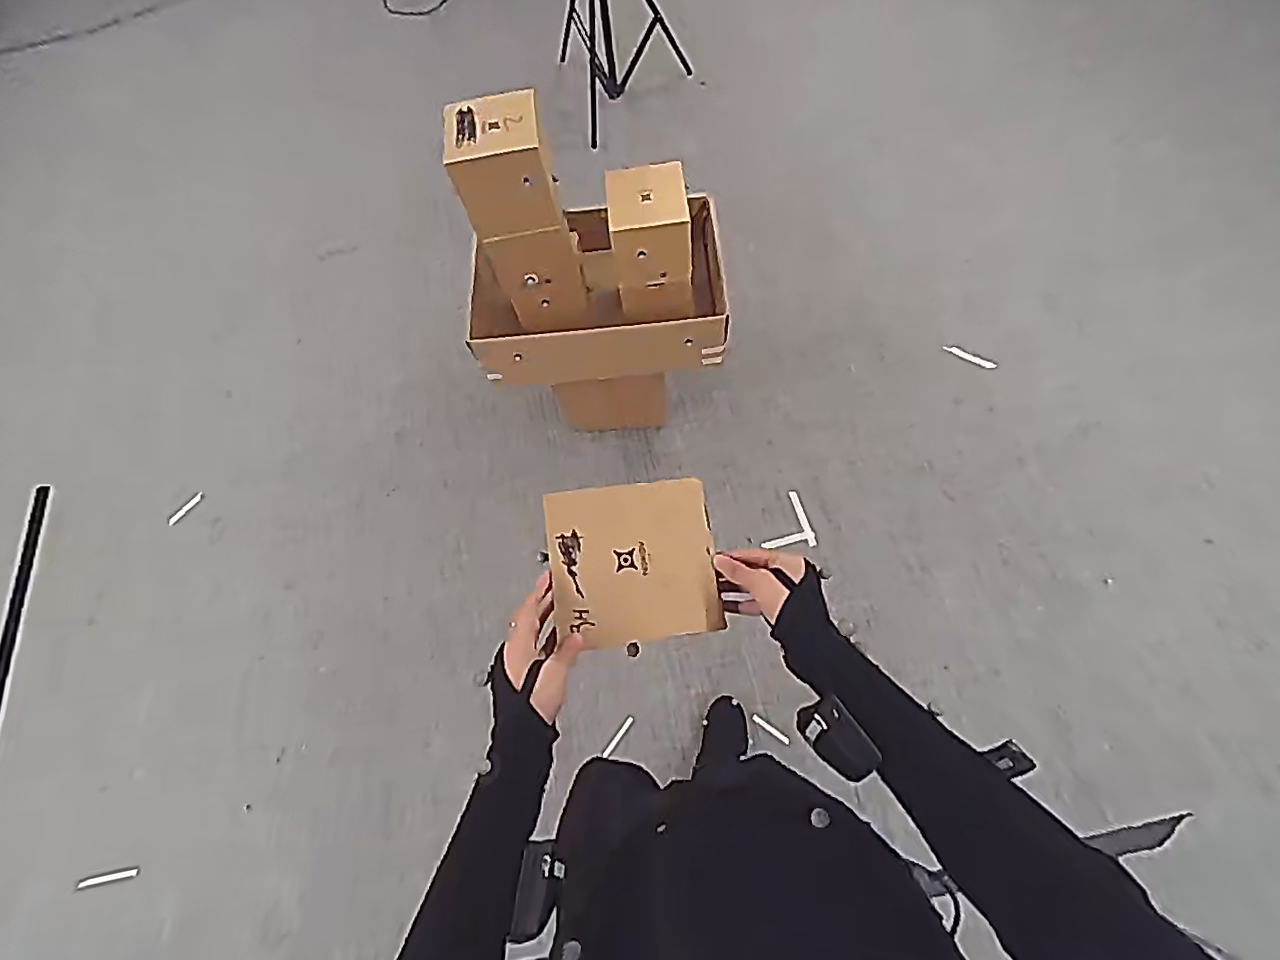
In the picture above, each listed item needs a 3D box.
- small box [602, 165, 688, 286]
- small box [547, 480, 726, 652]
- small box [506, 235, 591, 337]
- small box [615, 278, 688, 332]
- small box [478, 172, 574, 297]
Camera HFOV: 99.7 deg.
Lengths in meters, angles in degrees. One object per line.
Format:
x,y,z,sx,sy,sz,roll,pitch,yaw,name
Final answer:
0.015,-0.546,1.184,0.168,0.176,0.179,-7,66,2,small box
-0.015,0.105,0.638,0.179,0.176,0.168,-5,74,-9,small box
-0.227,-0.479,1.355,0.179,0.176,0.168,-7,68,1,small box
0.028,-0.483,1.334,0.168,0.176,0.179,-7,67,2,small box
-0.251,-0.541,1.204,0.168,0.176,0.179,-11,67,3,small box
